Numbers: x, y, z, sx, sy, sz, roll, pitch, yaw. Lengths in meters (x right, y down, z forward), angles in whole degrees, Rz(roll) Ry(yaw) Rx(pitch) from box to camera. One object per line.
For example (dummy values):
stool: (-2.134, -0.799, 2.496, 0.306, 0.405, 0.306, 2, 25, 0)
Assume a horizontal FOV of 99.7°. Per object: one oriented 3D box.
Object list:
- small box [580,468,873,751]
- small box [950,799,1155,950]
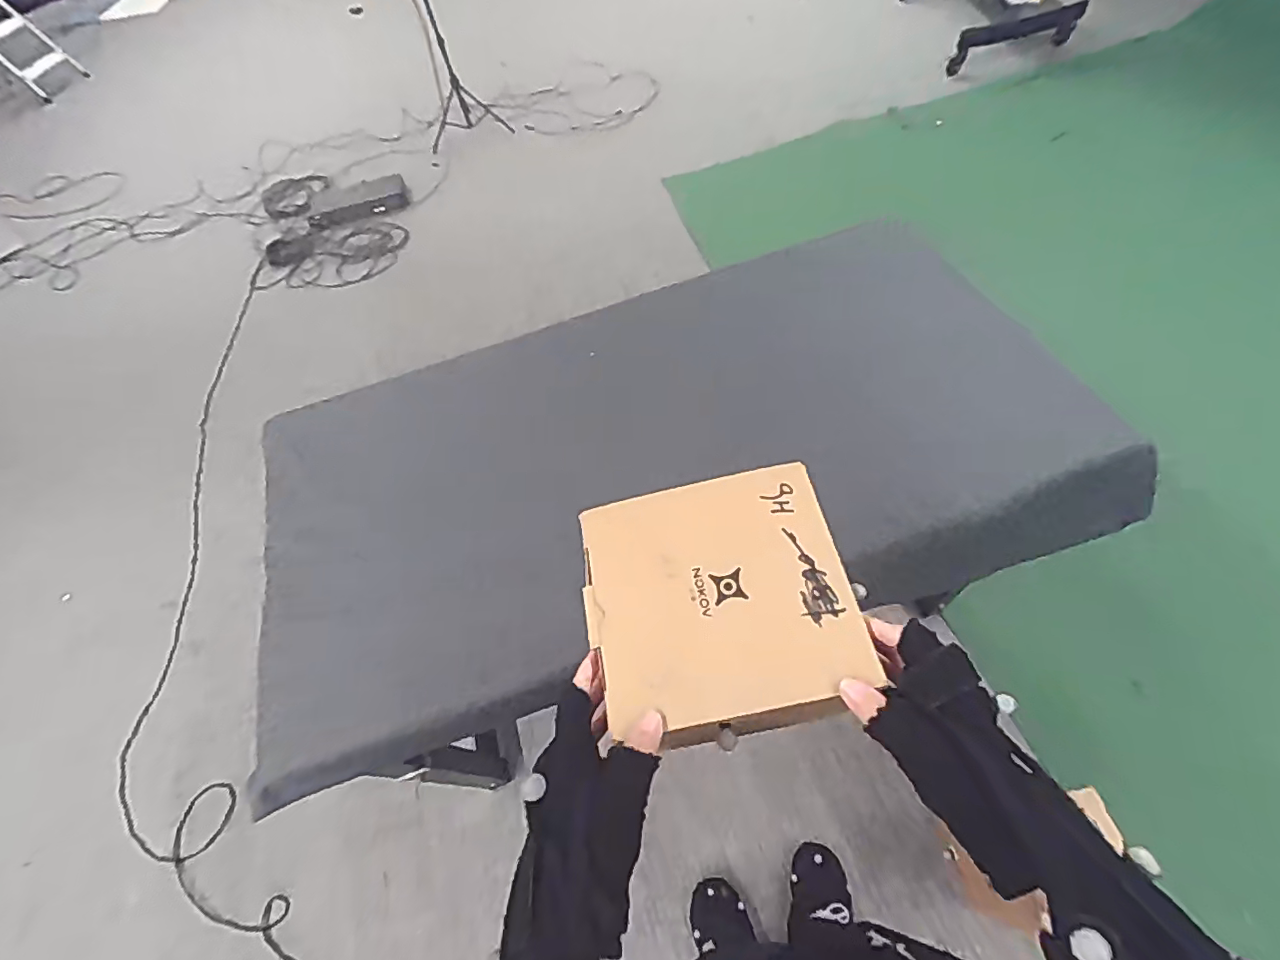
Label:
small box: (0.061, 0.115, 0.441, 0.179, 0.176, 0.168, -12, 59, 3)
small box: (0.655, 0.636, 0.889, 0.179, 0.176, 0.168, -13, 56, 0)
